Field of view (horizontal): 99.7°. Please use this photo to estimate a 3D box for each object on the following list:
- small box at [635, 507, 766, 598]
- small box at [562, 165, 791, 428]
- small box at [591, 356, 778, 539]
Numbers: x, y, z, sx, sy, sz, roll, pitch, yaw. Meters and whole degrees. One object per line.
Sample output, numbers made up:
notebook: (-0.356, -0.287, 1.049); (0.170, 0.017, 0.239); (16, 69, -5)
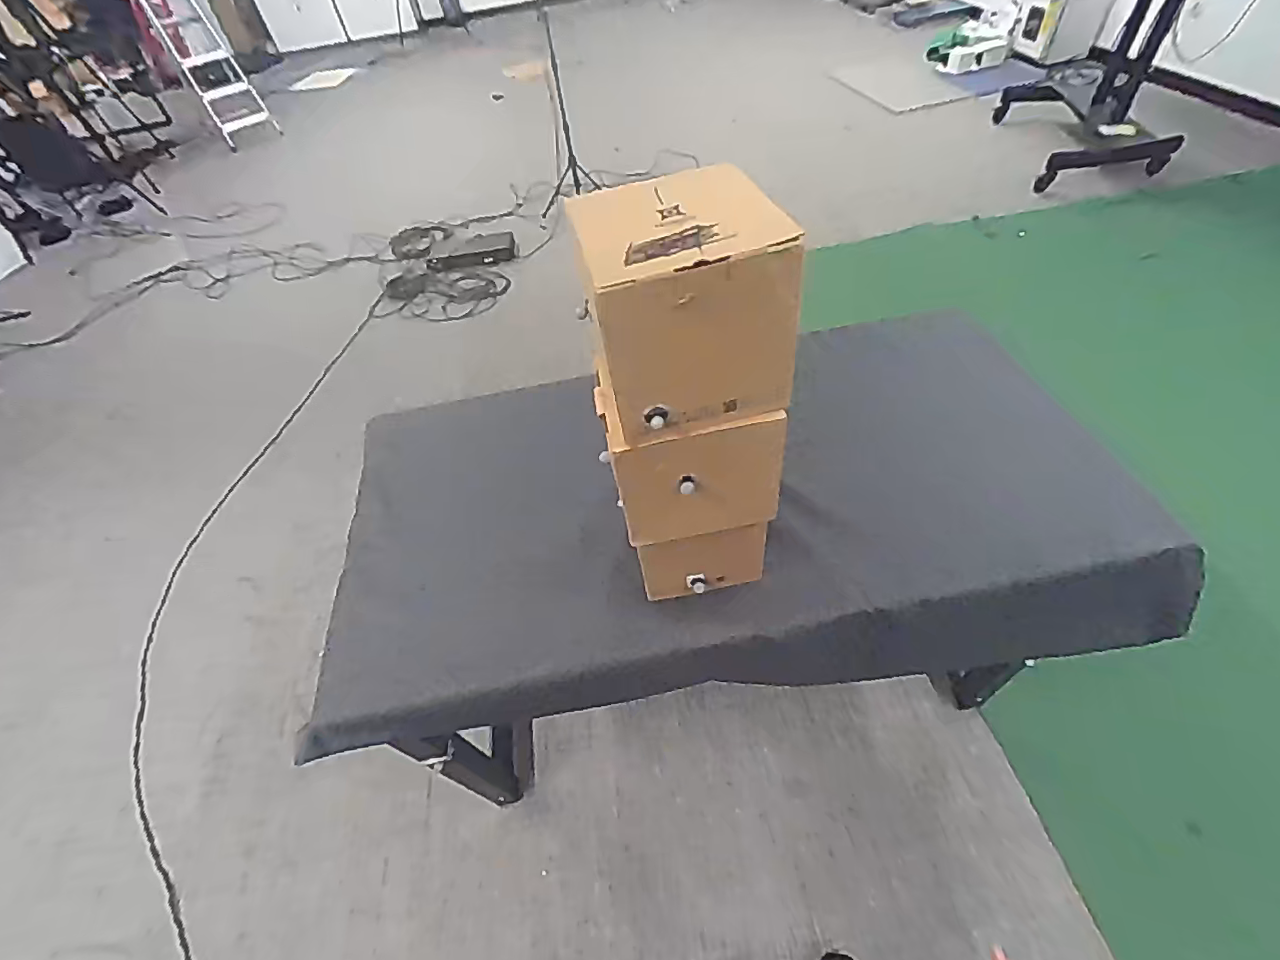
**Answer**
small box: (0.070, 0.041, 0.771); (0.168, 0.176, 0.179); (-13, 50, -1)
small box: (0.033, -0.168, 0.521); (0.168, 0.176, 0.179); (-14, 48, -3)
small box: (0.051, -0.051, 0.640); (0.179, 0.176, 0.168); (-13, 47, -2)
